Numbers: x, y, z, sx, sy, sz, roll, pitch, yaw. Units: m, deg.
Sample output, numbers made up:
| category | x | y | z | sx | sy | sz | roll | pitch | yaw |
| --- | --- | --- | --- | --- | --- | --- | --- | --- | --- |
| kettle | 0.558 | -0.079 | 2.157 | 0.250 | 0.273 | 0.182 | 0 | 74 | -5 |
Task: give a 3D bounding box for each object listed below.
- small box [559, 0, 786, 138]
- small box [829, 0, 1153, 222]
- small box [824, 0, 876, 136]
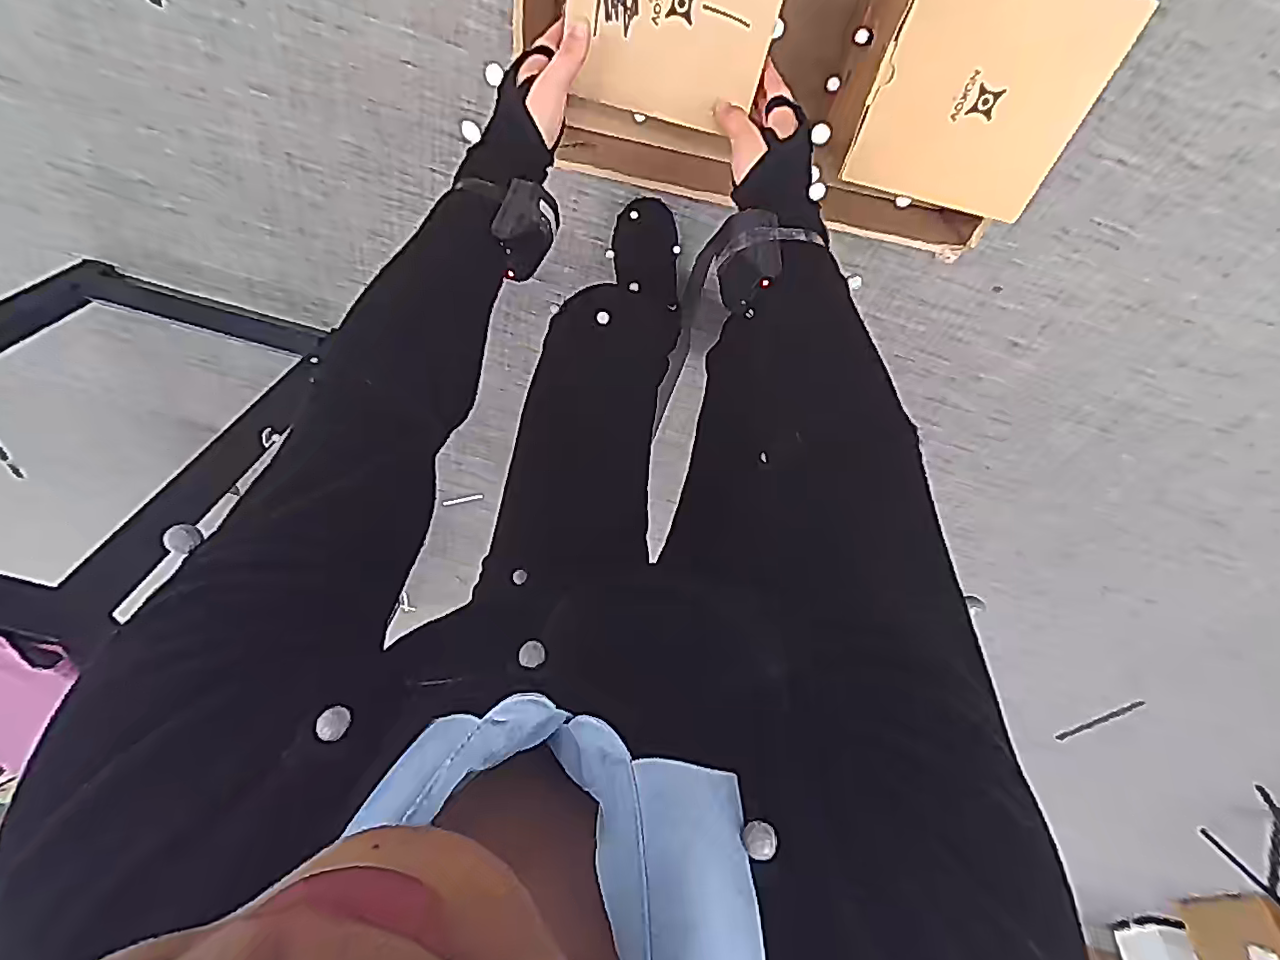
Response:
| category | x | y | z | sx | sy | sz | roll | pitch | yaw |
| --- | --- | --- | --- | --- | --- | --- | --- | --- | --- |
| small box | 0.037 | -0.441 | 0.490 | 0.179 | 0.176 | 0.168 | 13 | 134 | -4 |
| small box | 0.299 | -0.376 | 0.512 | 0.179 | 0.176 | 0.168 | 14 | 135 | -1 |
| small box | 0.326 | -0.489 | 0.625 | 0.168 | 0.176 | 0.179 | 13 | 134 | -2 |
